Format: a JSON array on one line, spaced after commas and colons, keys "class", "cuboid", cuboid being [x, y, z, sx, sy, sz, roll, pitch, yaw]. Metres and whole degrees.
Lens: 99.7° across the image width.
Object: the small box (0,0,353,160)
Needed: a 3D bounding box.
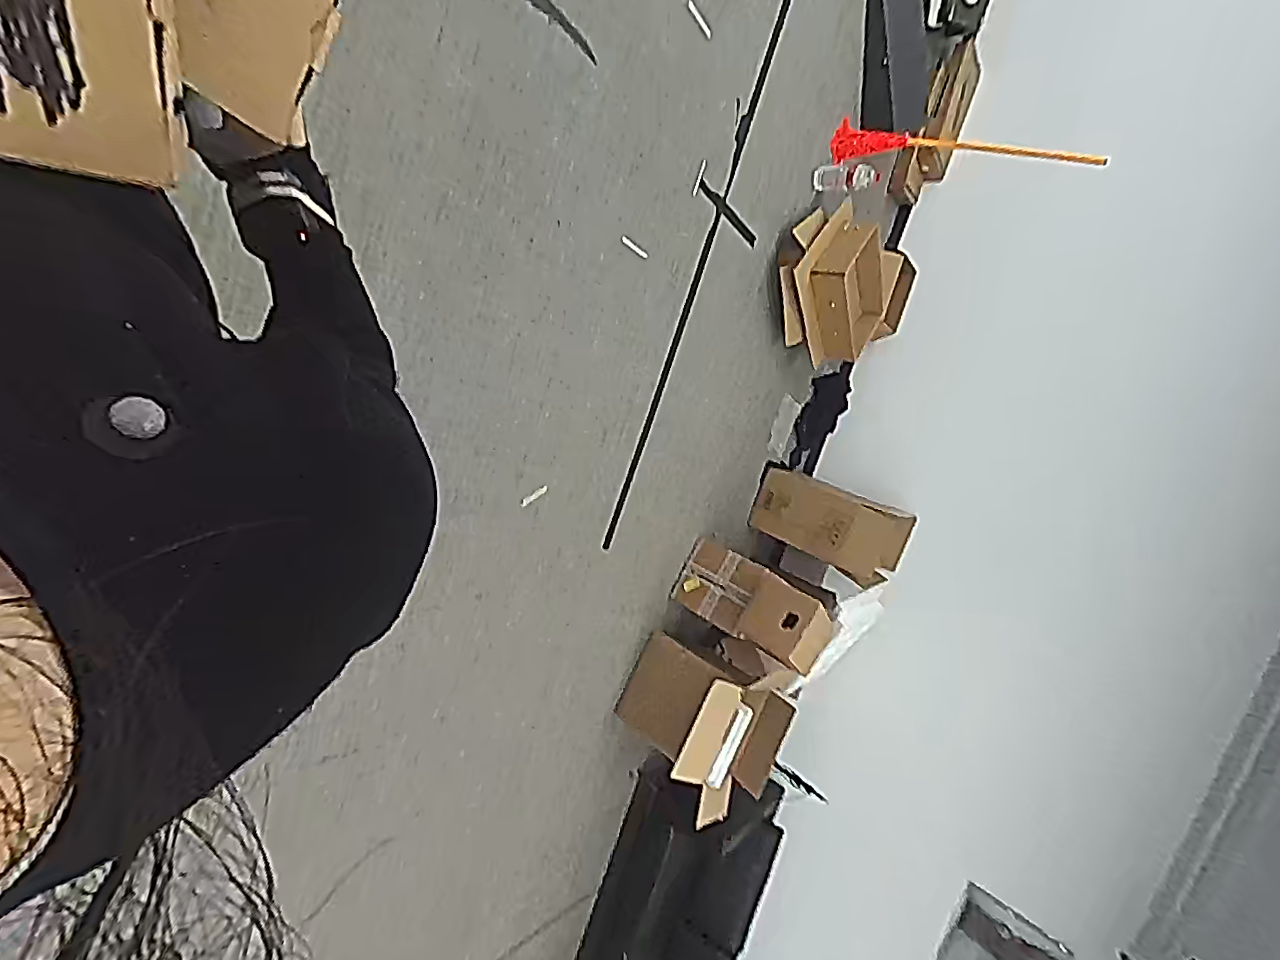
[{"class": "small box", "cuboid": [-0.331, -0.349, 0.367, 0.179, 0.176, 0.168, 22, 88, -54]}]
